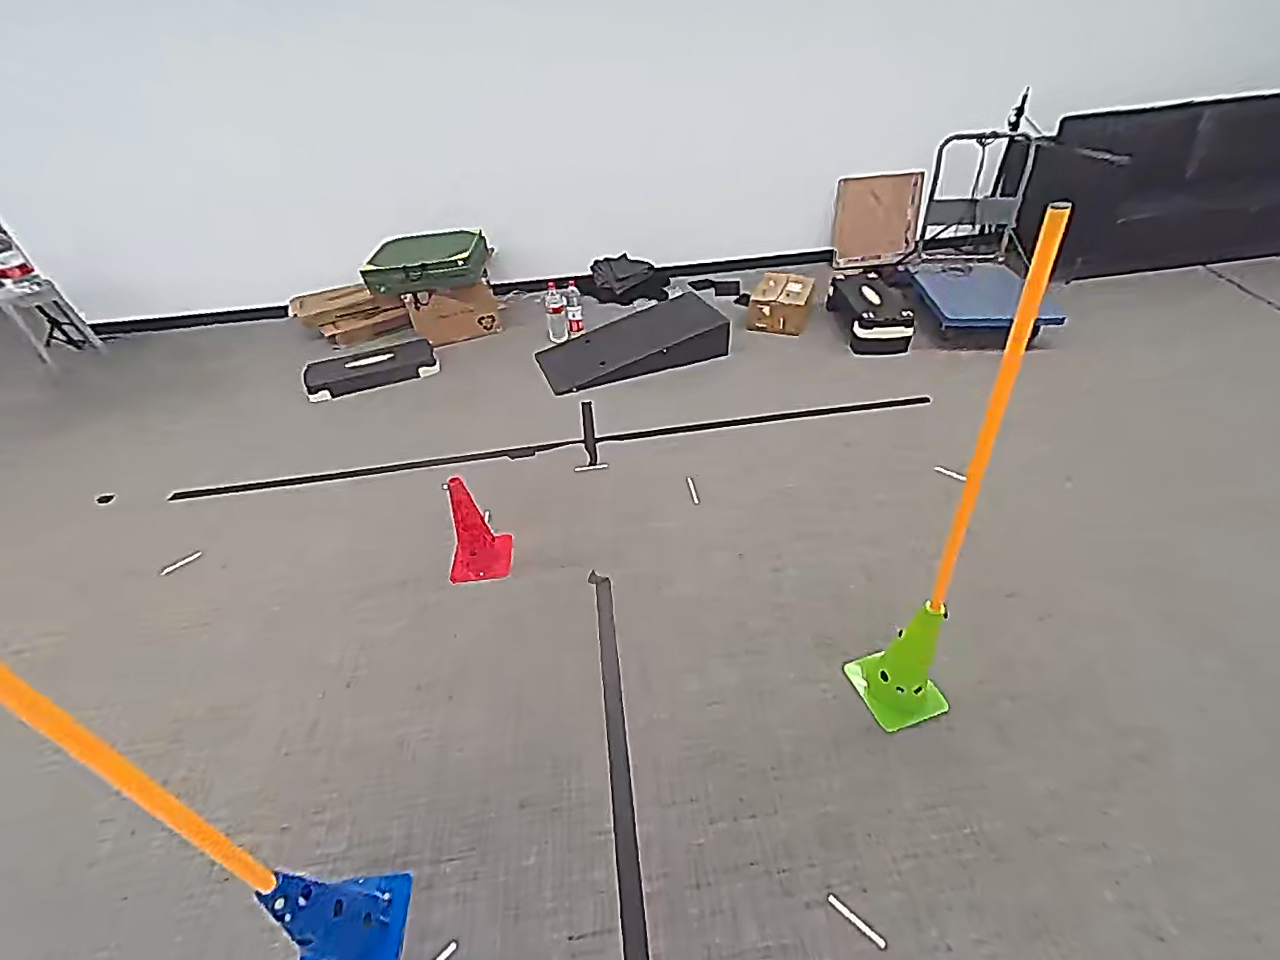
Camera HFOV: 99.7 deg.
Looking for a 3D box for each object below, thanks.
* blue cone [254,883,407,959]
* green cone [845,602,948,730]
[{"bbox_3d":[-0.587,0.812,0.987,0.193,0.380,0.192,-6,40,-2],"label":"blue cone"},{"bbox_3d":[0.674,0.421,1.334,0.200,0.368,0.202,-14,42,-12],"label":"green cone"}]
